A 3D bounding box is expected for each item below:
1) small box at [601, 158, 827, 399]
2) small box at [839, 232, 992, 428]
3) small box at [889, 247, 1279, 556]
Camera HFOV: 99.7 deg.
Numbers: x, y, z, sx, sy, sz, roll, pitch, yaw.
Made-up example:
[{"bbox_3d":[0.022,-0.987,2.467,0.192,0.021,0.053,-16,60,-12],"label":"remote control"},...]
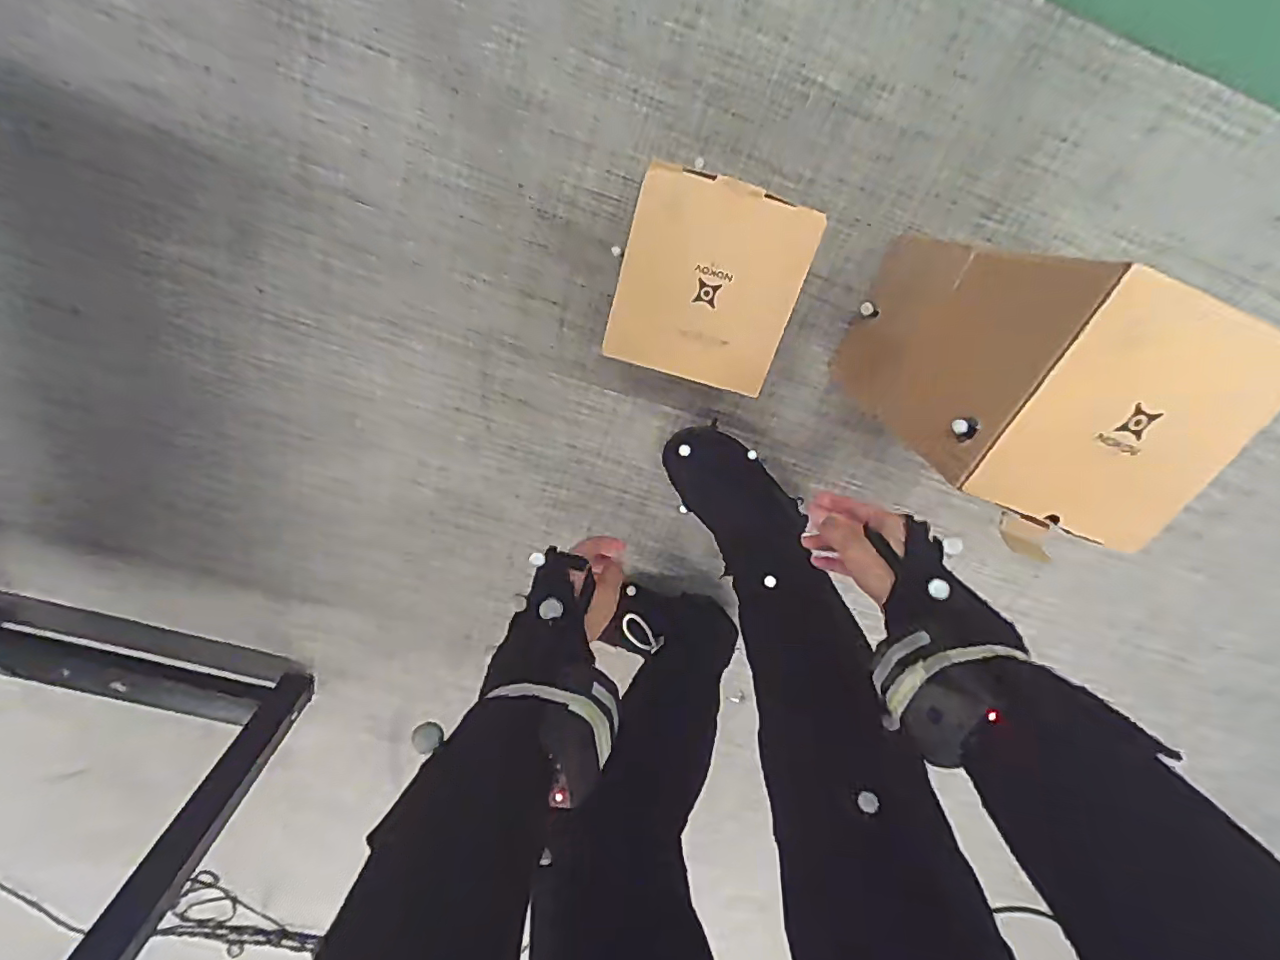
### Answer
[{"bbox_3d":[0.063,-0.211,0.563,0.168,0.176,0.179,14,118,-5],"label":"small box"},{"bbox_3d":[0.341,-0.149,0.588,0.168,0.176,0.179,18,118,-9],"label":"small box"},{"bbox_3d":[0.341,-0.074,0.443,0.168,0.176,0.179,19,116,-9],"label":"small box"}]
